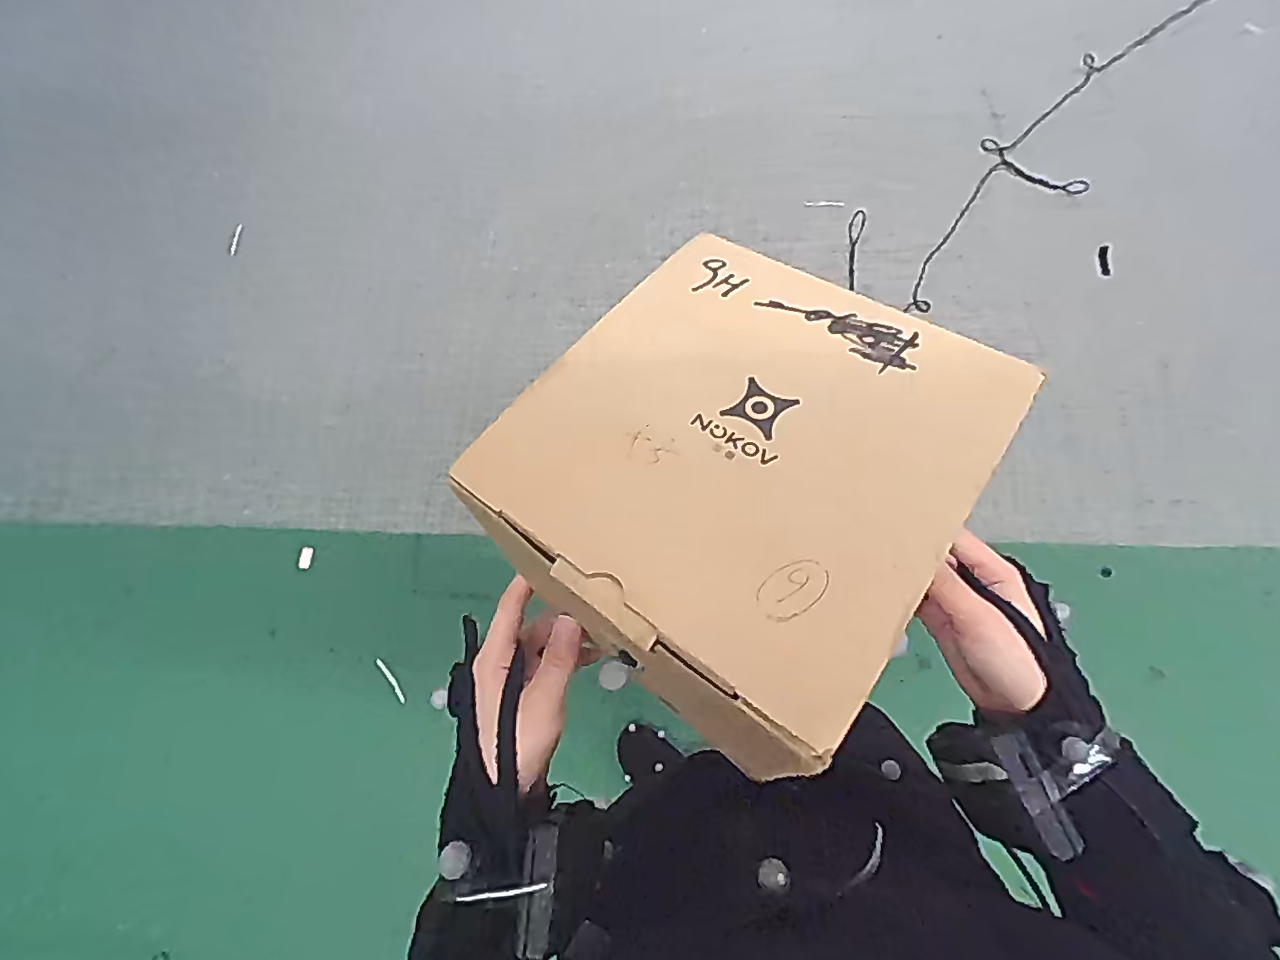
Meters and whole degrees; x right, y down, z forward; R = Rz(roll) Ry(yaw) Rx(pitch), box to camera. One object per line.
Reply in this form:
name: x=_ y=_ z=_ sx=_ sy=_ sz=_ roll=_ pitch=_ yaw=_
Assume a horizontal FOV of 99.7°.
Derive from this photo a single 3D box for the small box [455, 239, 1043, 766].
small box: x=0.049 y=0.021 z=0.279 sx=0.168 sy=0.176 sz=0.179 roll=33 pitch=69 yaw=22
